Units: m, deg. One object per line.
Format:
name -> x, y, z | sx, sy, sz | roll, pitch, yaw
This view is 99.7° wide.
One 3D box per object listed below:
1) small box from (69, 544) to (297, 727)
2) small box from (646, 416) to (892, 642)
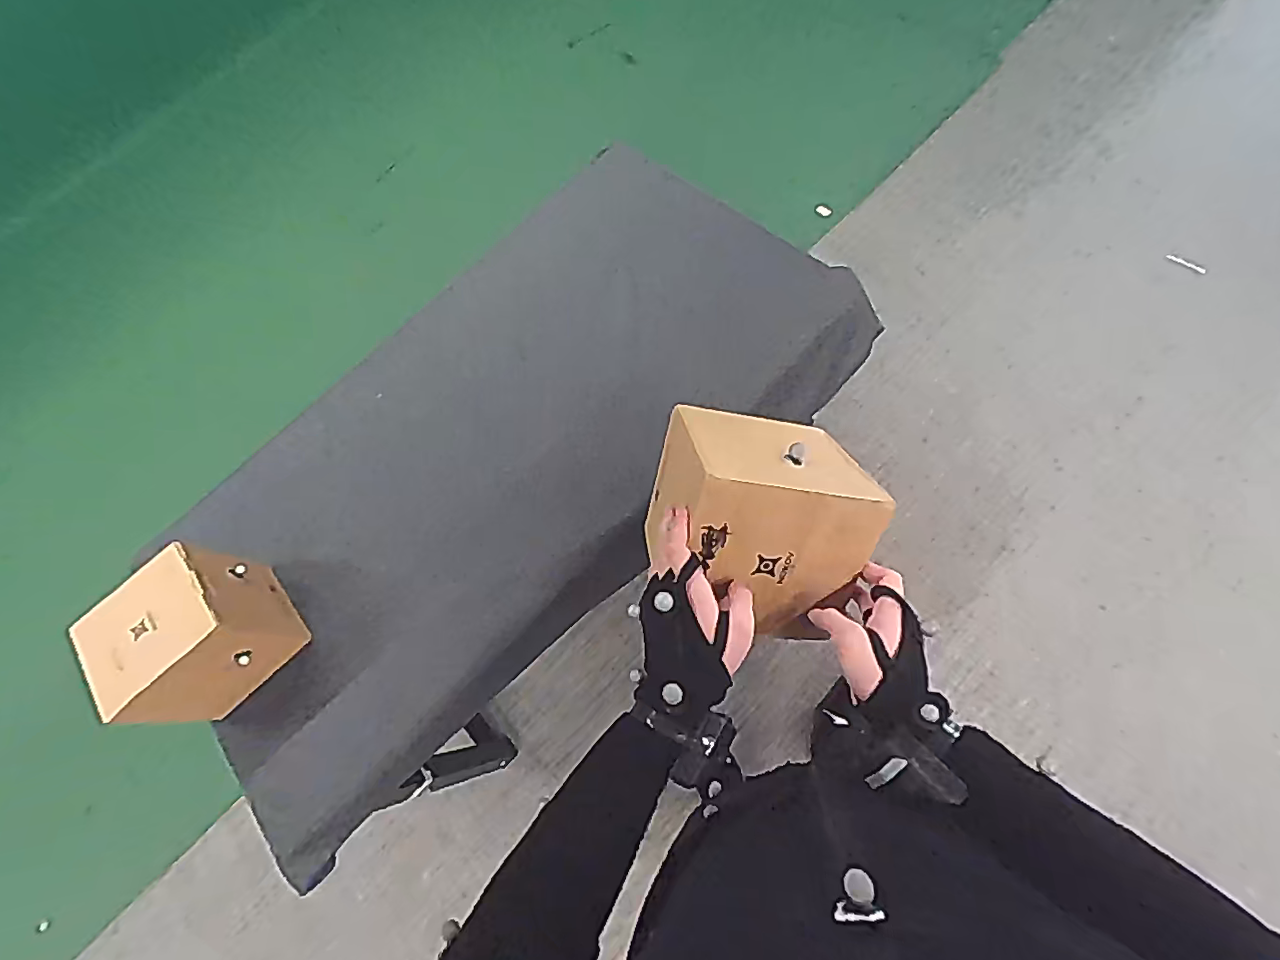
small box -> -0.636, 0.225, 0.776 | 0.179, 0.176, 0.168 | -42, 65, -7
small box -> 0.115, 0.045, 0.566 | 0.179, 0.168, 0.176 | 8, 26, -12
